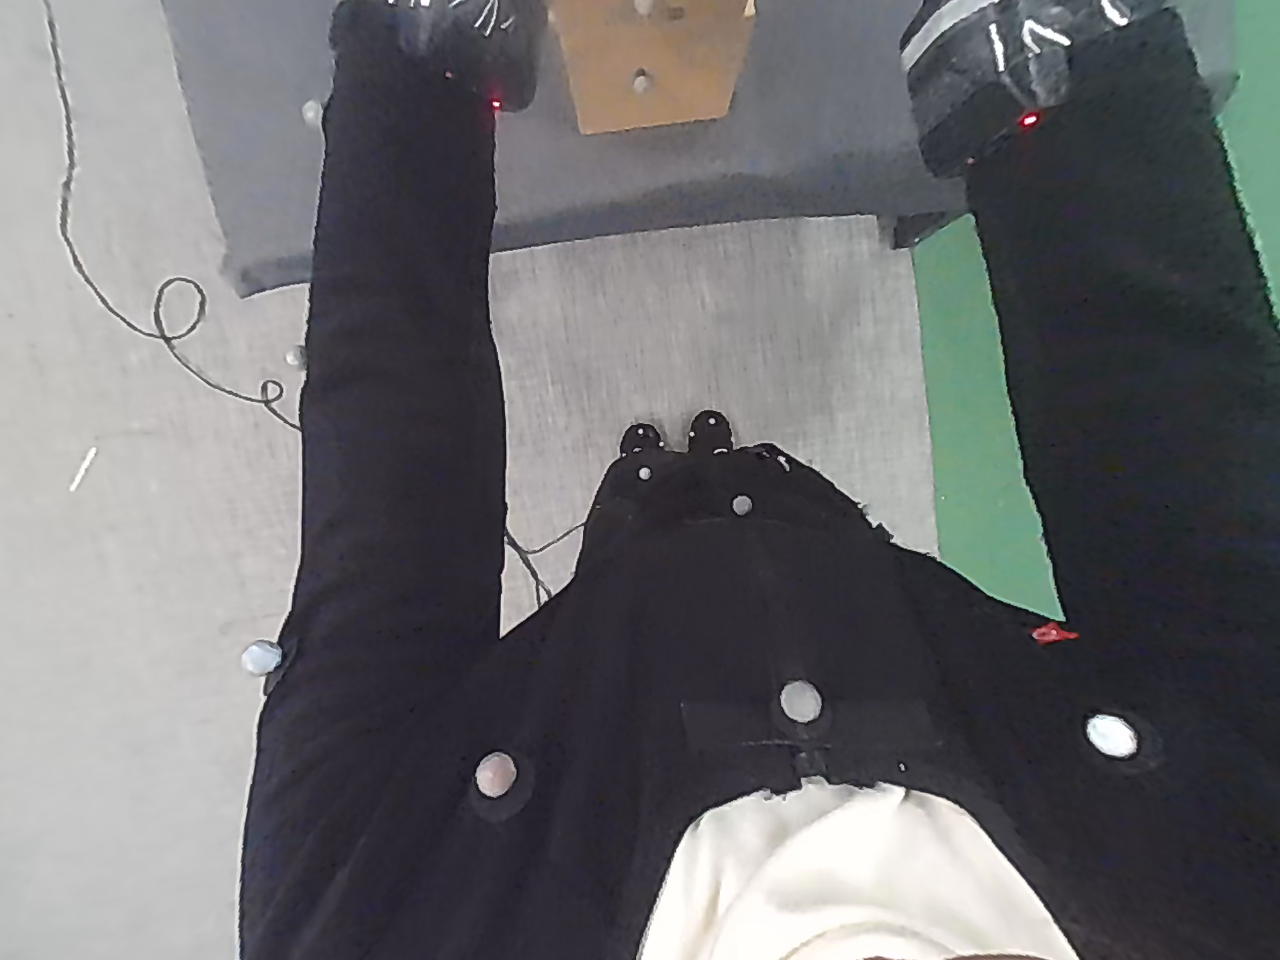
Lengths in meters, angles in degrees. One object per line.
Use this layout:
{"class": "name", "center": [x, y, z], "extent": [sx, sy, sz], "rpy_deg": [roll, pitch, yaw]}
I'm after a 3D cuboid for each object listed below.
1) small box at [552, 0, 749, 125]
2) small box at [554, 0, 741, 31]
{"class": "small box", "center": [0.005, -0.493, 0.550], "extent": [0.179, 0.176, 0.168], "rpy_deg": [-6, 97, 1]}
{"class": "small box", "center": [0.003, -0.475, 0.386], "extent": [0.168, 0.176, 0.179], "rpy_deg": [-3, 98, 1]}
